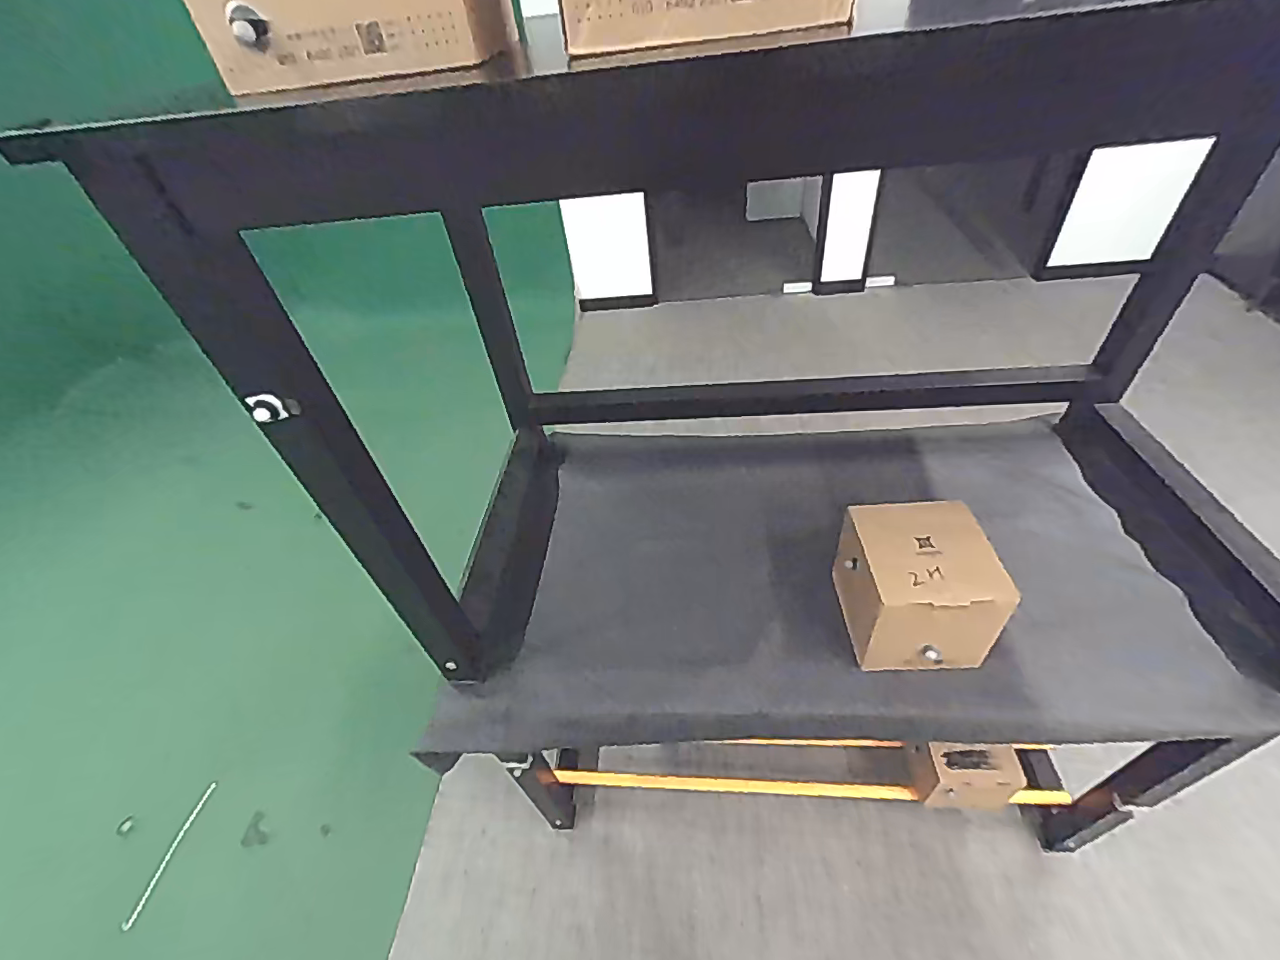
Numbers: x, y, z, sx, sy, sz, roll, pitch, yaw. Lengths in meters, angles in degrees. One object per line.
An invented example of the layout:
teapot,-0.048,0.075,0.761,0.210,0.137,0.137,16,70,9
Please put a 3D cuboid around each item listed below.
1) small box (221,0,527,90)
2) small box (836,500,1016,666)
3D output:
small box,-0.181,-0.375,0.361,0.168,0.176,0.179,-4,42,3
small box,0.396,0.150,0.790,0.168,0.176,0.179,-3,42,6
